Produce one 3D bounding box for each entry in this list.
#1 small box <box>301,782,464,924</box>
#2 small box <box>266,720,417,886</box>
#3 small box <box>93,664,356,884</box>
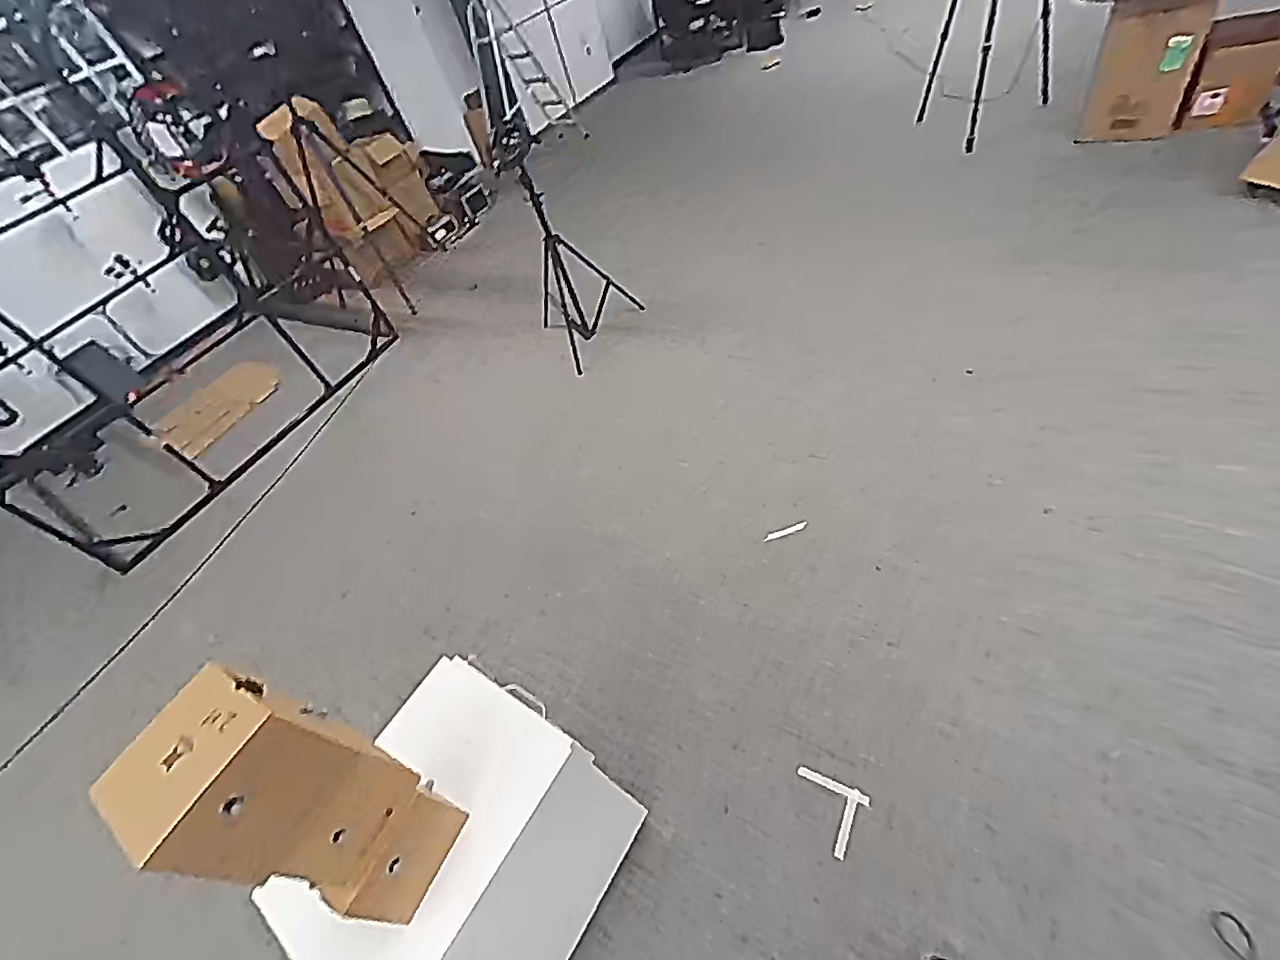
[{"bbox_3d":[-0.434,0.606,0.910,0.168,0.176,0.179,11,53,28],"label":"small box"},{"bbox_3d":[-0.479,0.478,0.816,0.179,0.176,0.168,11,54,30],"label":"small box"},{"bbox_3d":[-0.514,0.375,0.691,0.168,0.176,0.179,15,55,31],"label":"small box"}]
